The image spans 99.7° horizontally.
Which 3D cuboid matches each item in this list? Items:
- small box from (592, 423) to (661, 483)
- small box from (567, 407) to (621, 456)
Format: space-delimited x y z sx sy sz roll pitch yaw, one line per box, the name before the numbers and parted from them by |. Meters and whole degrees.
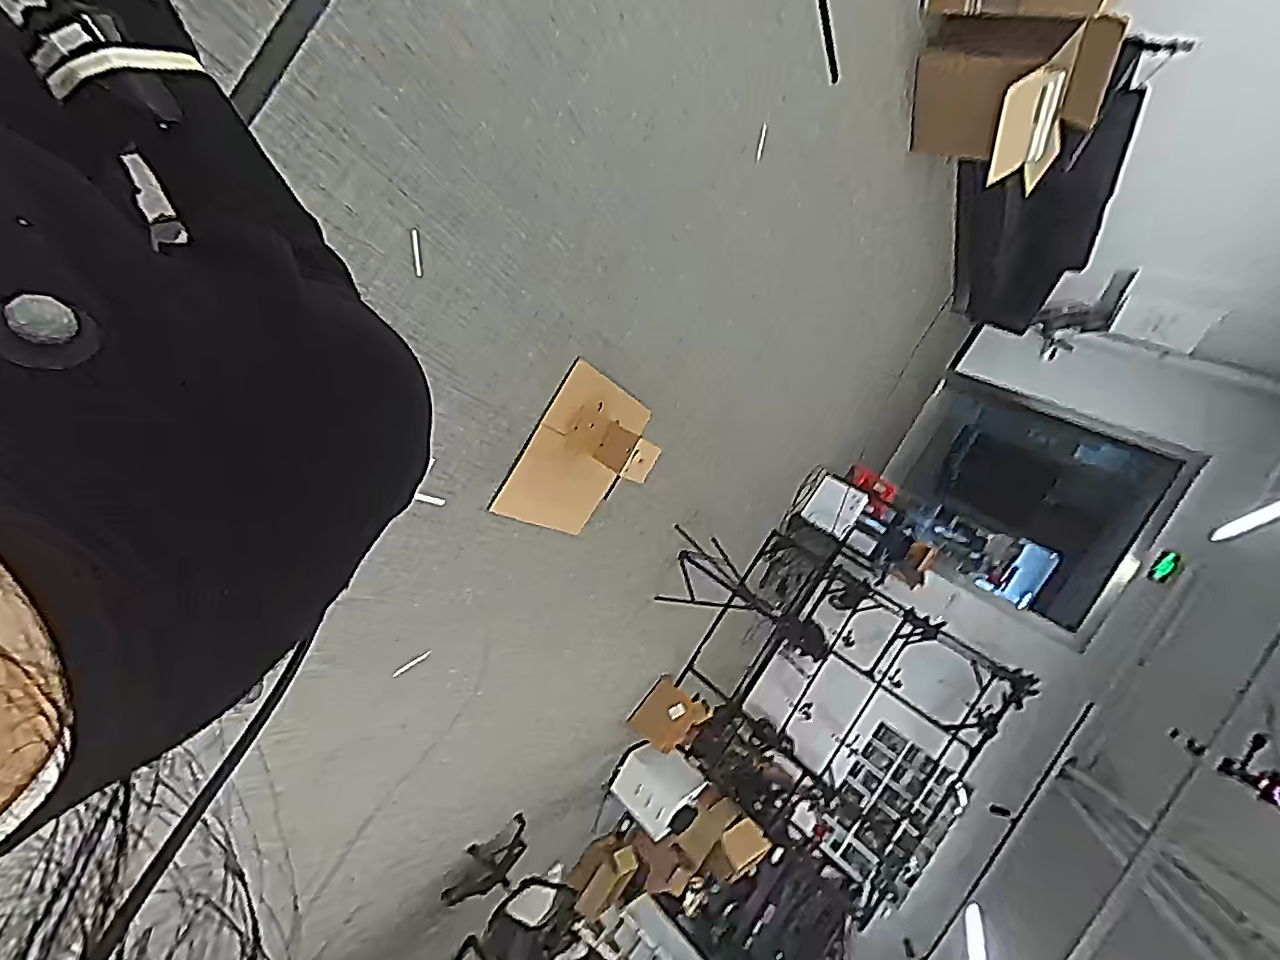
small box | -0.054 -0.108 2.149 0.179 0.176 0.168 21 100 -58
small box | -0.171 -0.184 2.235 0.168 0.176 0.179 -60 147 4
